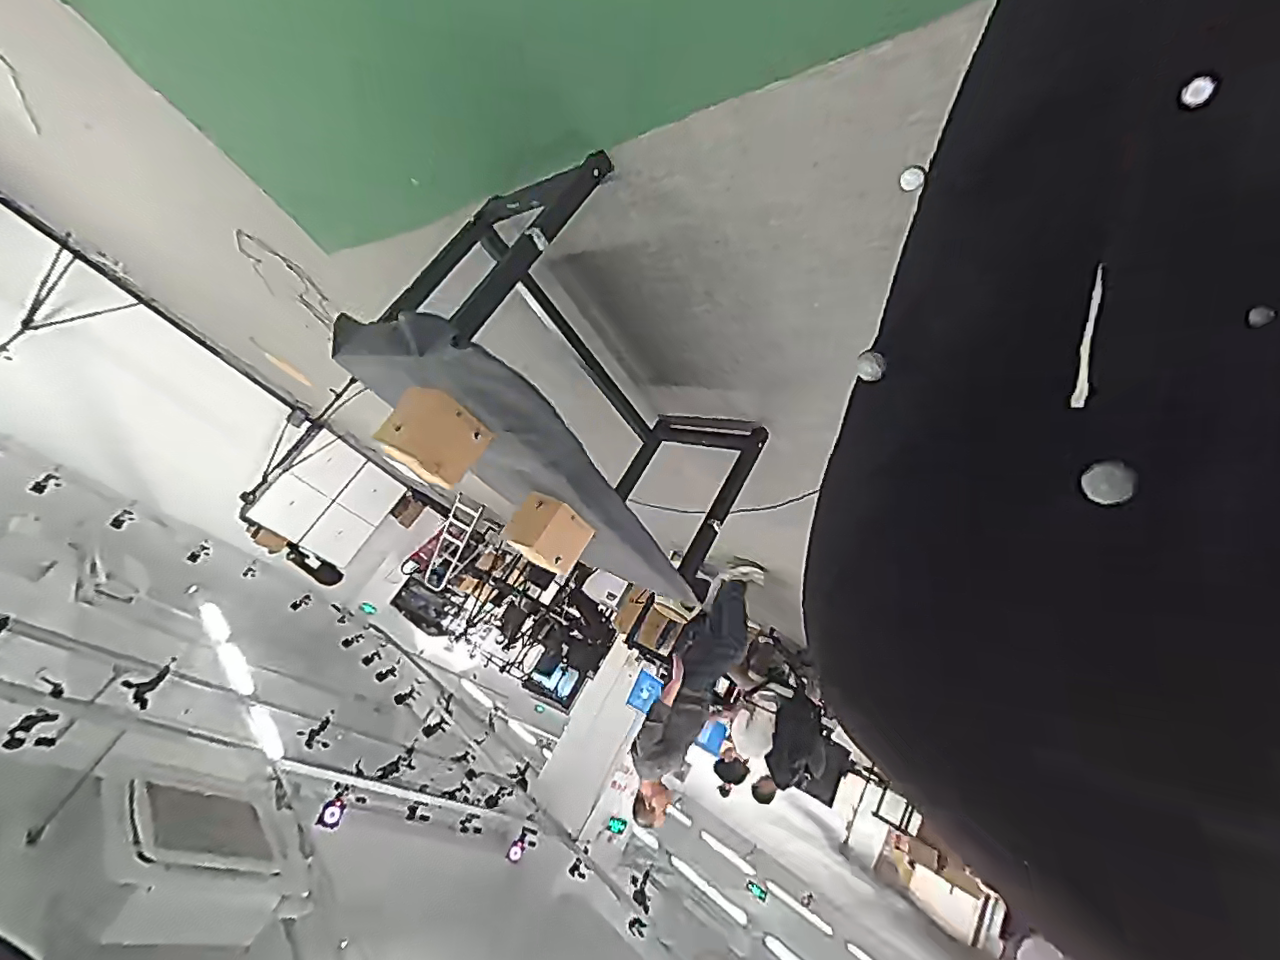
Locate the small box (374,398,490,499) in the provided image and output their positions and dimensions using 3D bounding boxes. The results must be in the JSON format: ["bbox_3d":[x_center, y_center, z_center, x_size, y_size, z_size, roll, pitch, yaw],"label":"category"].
[{"bbox_3d":[-0.490,-0.079,1.297,0.179,0.176,0.168,14,154,44],"label":"small box"}]

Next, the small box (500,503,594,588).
[{"bbox_3d":[-0.270,0.187,1.601,0.179,0.176,0.168,13,153,45],"label":"small box"}]
